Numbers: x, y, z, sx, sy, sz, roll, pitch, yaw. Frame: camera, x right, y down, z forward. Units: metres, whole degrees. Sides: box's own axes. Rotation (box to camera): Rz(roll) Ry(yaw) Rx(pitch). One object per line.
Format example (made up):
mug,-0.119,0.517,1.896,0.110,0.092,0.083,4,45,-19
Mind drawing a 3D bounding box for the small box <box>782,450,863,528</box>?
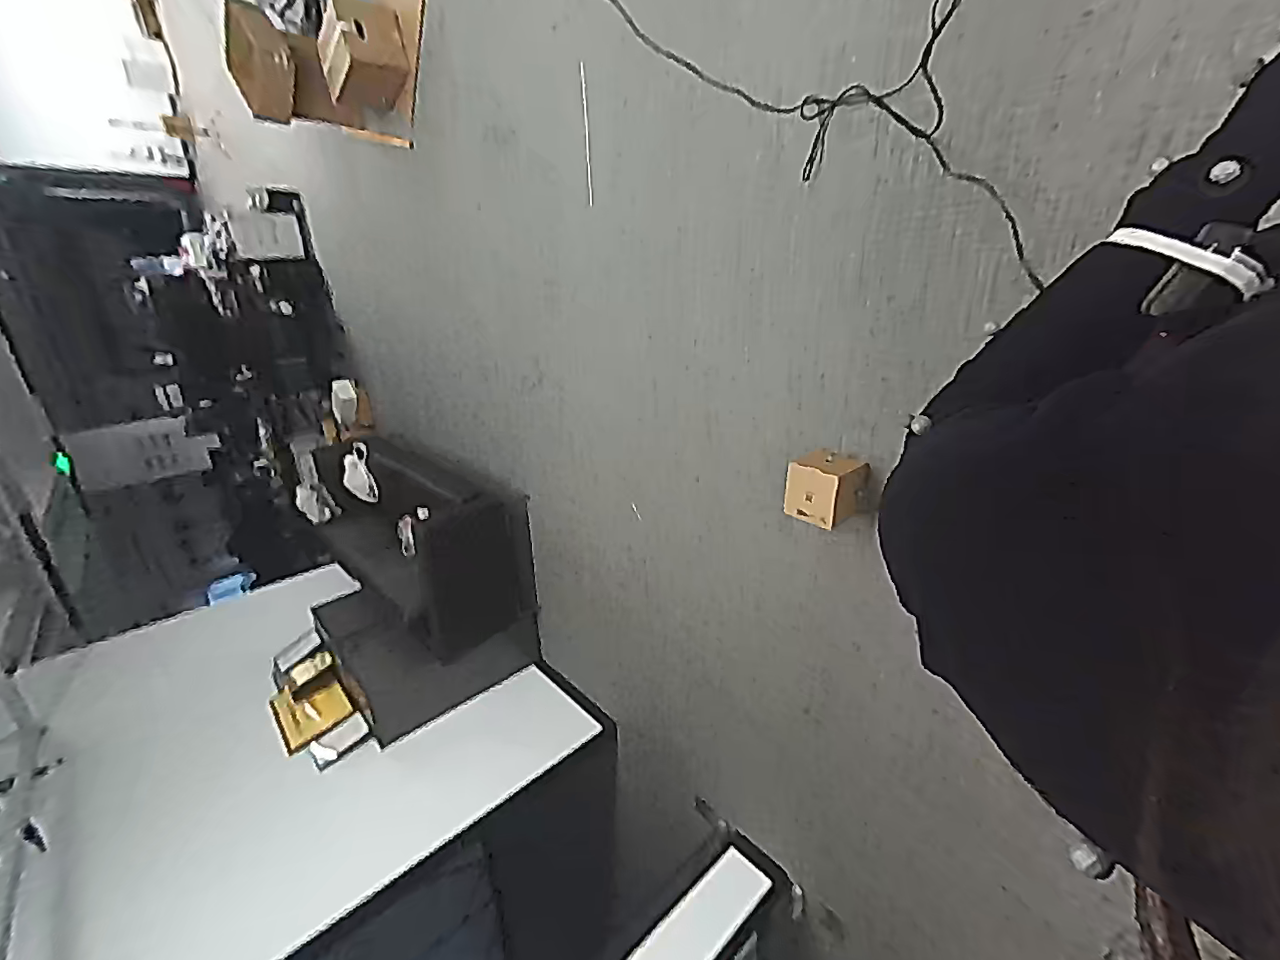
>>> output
small box,0.563,0.020,1.661,0.168,0.176,0.179,24,122,43
